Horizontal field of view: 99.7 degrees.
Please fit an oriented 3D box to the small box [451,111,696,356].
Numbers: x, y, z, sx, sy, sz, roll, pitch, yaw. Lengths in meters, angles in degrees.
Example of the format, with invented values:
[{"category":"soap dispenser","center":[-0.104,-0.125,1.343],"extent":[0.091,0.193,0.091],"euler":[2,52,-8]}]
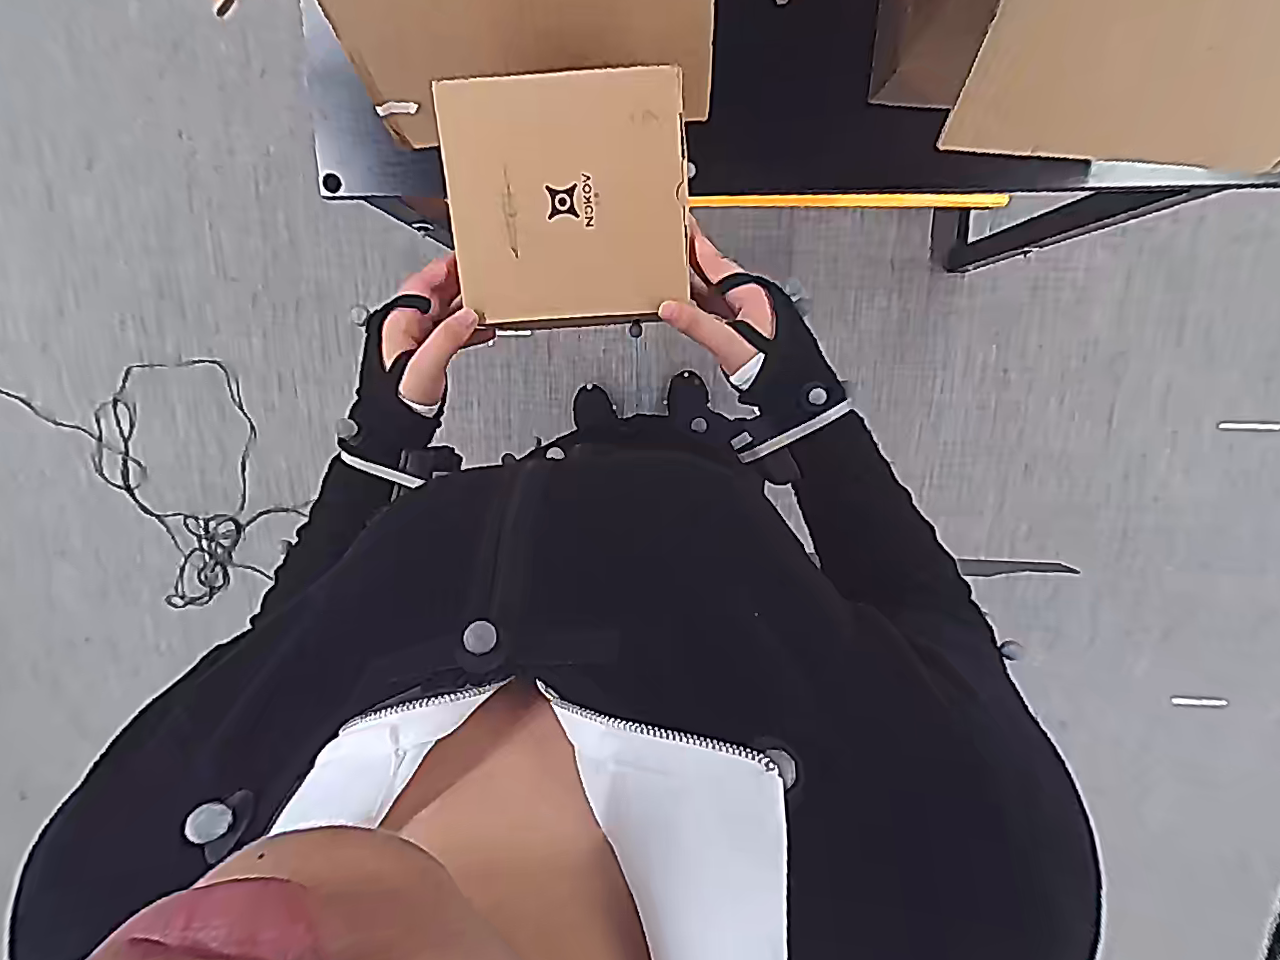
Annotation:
[{"category":"small box","center":[-0.048,-0.203,0.491],"extent":[0.179,0.176,0.168],"euler":[-4,102,2]}]
